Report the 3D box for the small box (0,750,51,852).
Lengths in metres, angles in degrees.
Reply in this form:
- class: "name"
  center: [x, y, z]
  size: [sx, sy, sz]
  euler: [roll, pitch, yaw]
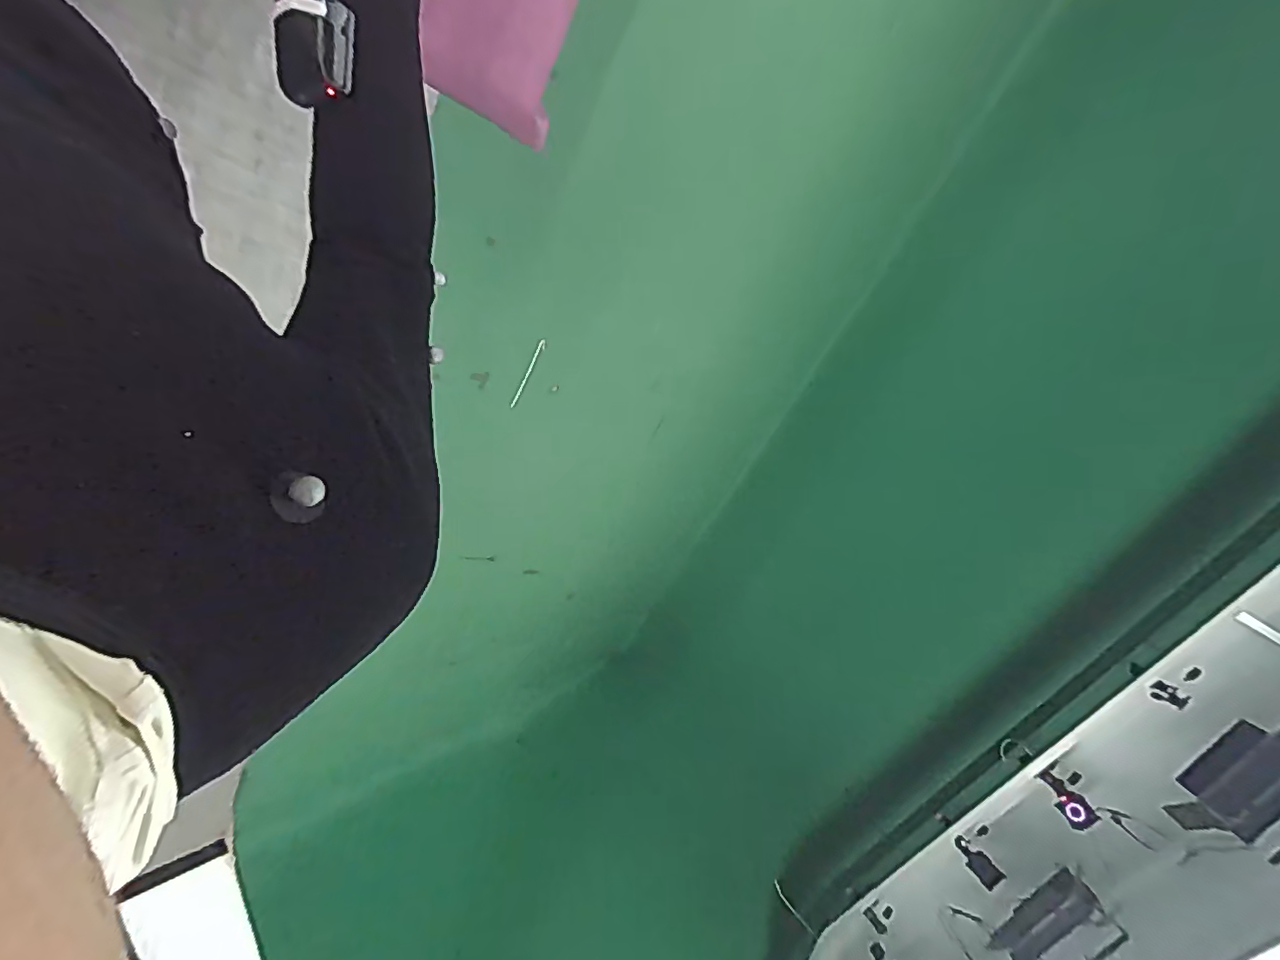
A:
- class: "small box"
  center: [-1.603, 0.802, 1.326]
  size: [0.168, 0.176, 0.179]
  euler: [-55, 152, 16]
